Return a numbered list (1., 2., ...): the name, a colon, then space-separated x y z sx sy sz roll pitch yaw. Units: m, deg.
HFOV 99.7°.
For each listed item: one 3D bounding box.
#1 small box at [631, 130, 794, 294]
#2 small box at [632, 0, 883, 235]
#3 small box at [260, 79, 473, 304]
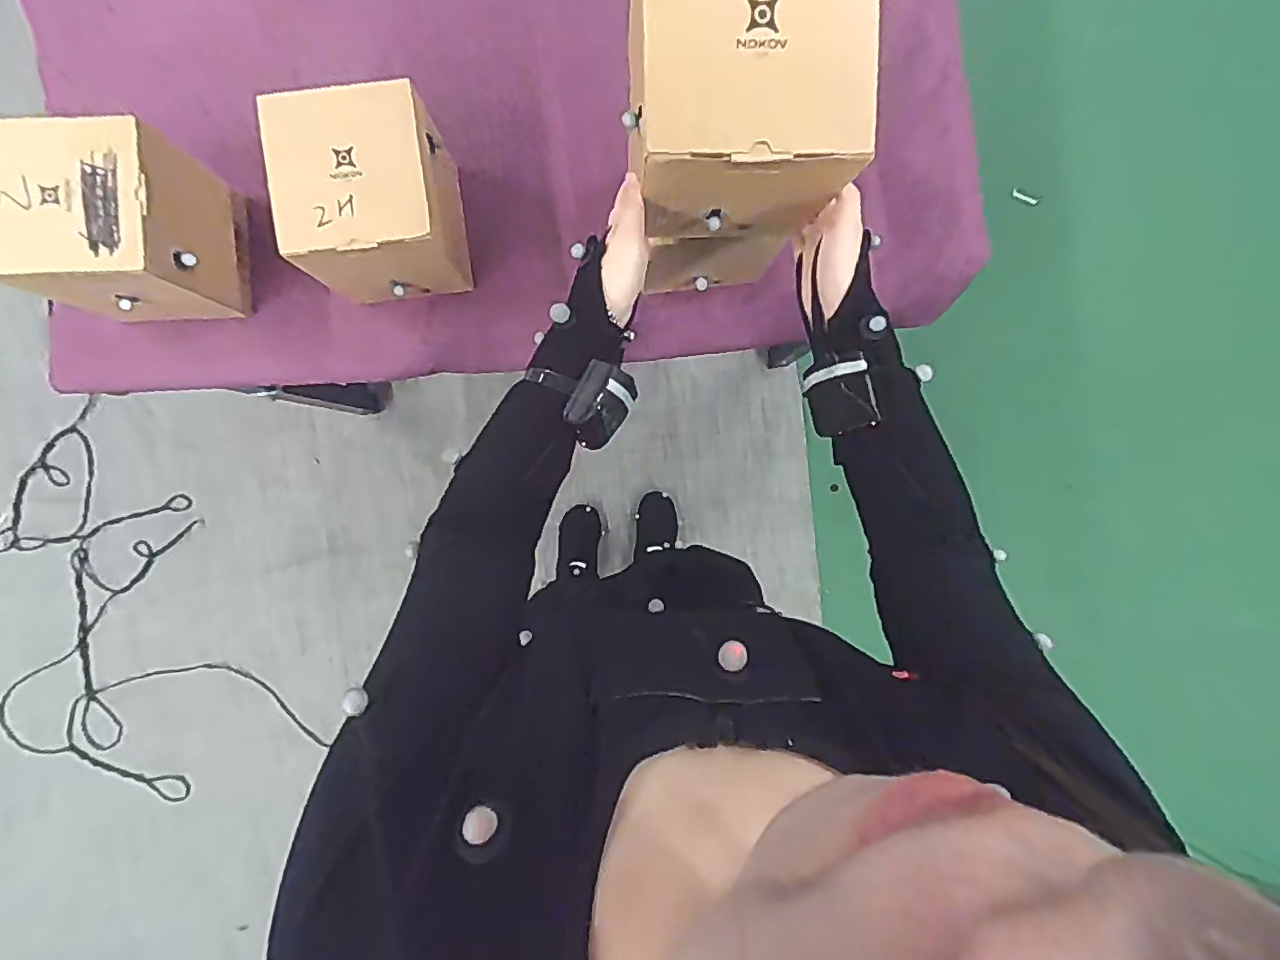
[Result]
1. small box: 0.079 -0.352 0.675 0.168 0.176 0.179 -7 92 -2
2. small box: 0.081 -0.321 0.447 0.168 0.176 0.179 -2 98 -3
3. small box: -0.316 -0.335 0.659 0.168 0.176 0.179 -8 90 -1
